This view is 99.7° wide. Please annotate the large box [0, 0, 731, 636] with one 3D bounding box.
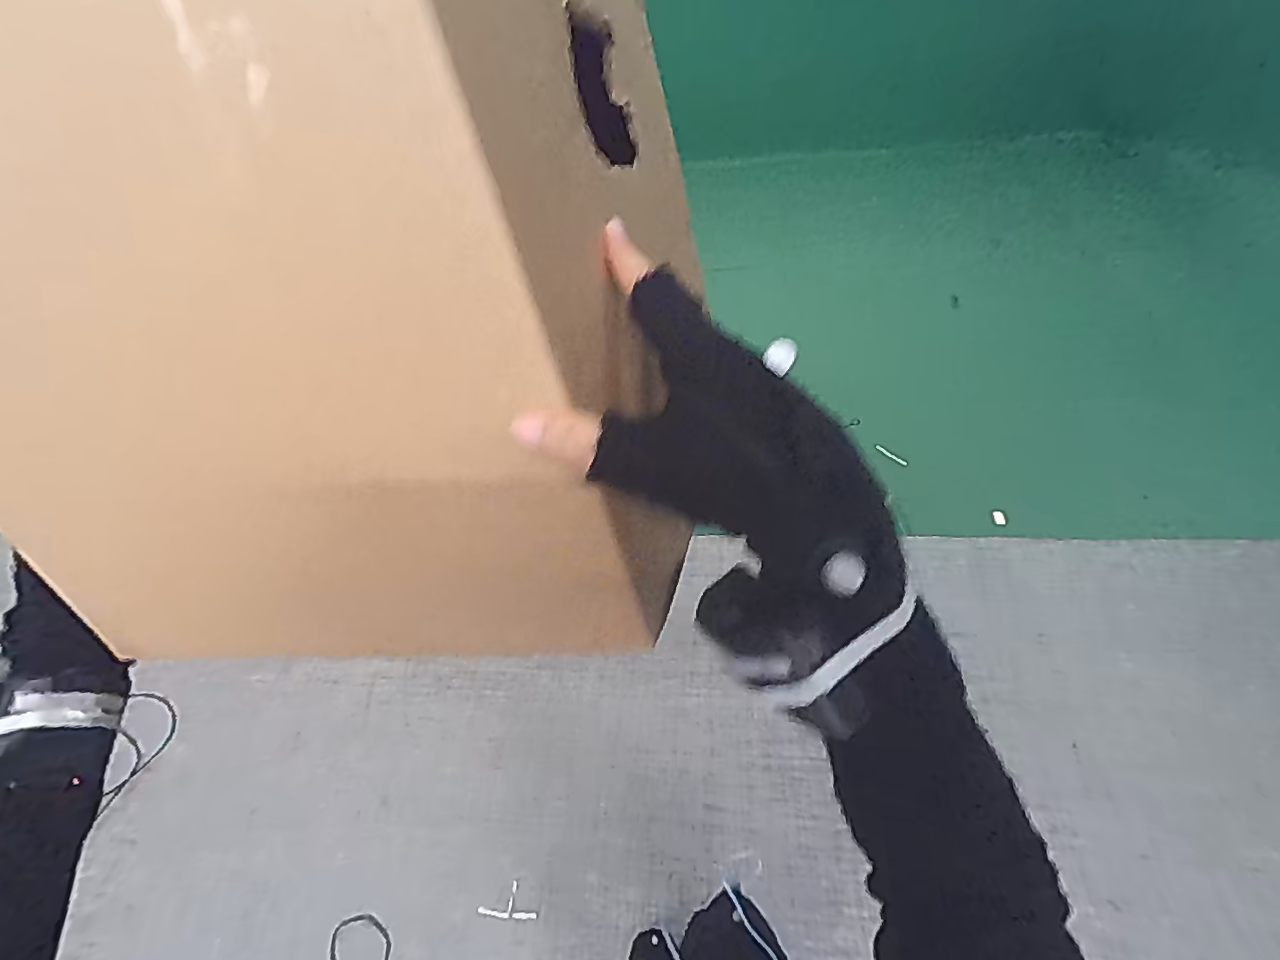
[{"bbox_3d":[-0.169,-0.109,0.391,0.408,0.320,0.320,-6,27,19],"label":"large box"}]
